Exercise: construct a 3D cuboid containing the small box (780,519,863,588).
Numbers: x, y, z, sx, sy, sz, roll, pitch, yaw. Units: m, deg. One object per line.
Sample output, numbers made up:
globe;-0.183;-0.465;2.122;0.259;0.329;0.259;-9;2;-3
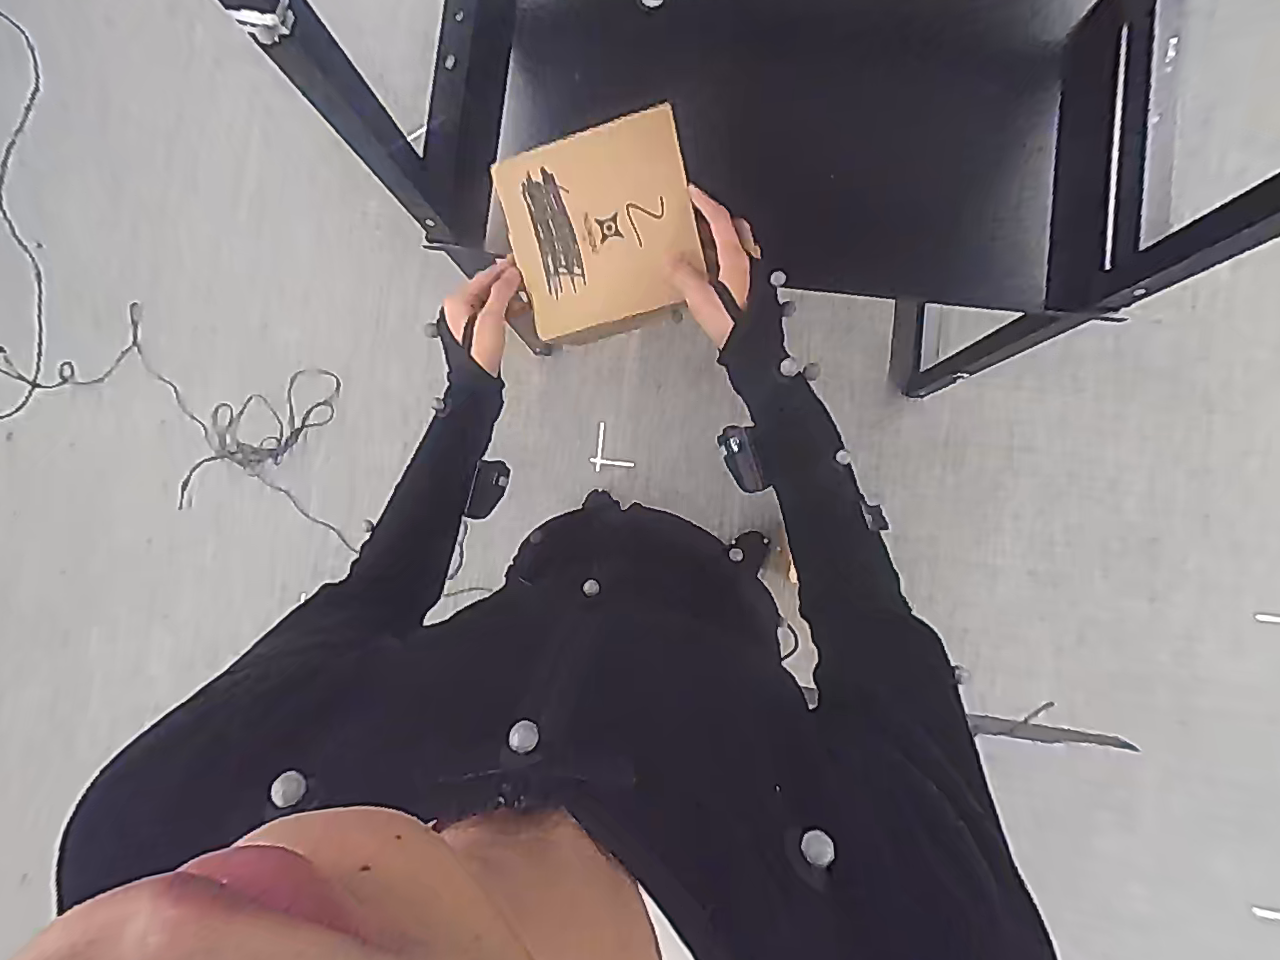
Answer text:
small box;0.505;0.201;1.521;0.179;0.176;0.168;5;87;5
